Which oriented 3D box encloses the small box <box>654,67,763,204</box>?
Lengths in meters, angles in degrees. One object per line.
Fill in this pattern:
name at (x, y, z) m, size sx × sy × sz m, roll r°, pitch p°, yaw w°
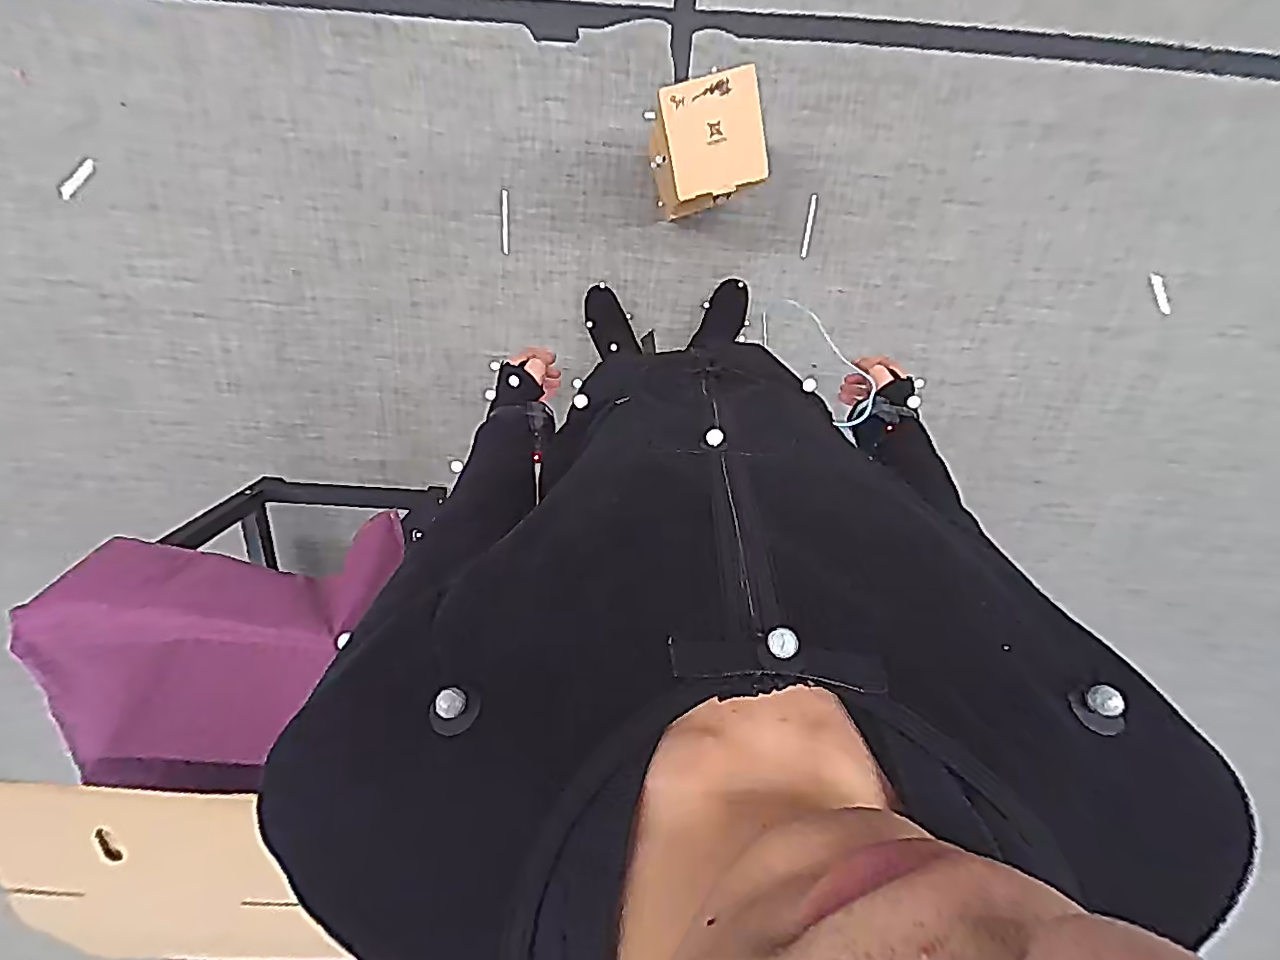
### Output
small box at (0.123, -0.625, 1.007) m, size 0.168 × 0.176 × 0.179 m, roll -12°, pitch 113°, yaw 4°
